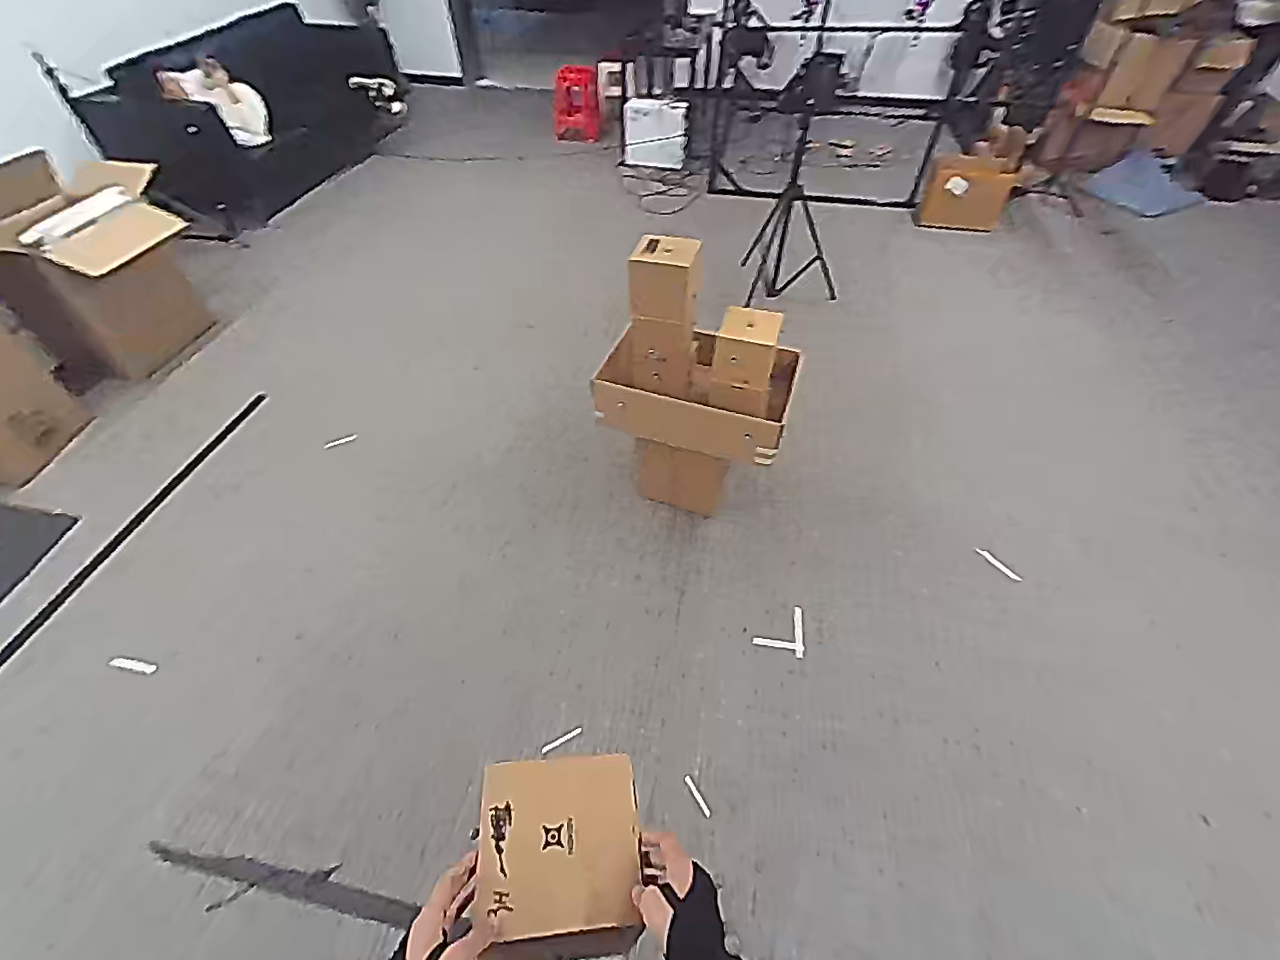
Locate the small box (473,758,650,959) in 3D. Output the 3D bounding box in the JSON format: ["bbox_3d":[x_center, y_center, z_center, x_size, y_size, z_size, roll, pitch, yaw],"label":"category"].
[{"bbox_3d":[-0.094,0.447,0.638,0.179,0.176,0.168,3,41,-10],"label":"small box"}]

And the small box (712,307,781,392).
[{"bbox_3d":[0.315,-0.389,1.619,0.168,0.176,0.179,14,49,12],"label":"small box"}]

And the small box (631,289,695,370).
[{"bbox_3d":[0.071,-0.471,1.689,0.168,0.176,0.179,10,49,11],"label":"small box"}]

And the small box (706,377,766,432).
[{"bbox_3d":[0.313,-0.280,1.740,0.168,0.176,0.179,13,49,12],"label":"small box"}]

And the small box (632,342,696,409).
[{"bbox_3d":[0.080,-0.359,1.810,0.179,0.176,0.168,13,50,11],"label":"small box"}]
